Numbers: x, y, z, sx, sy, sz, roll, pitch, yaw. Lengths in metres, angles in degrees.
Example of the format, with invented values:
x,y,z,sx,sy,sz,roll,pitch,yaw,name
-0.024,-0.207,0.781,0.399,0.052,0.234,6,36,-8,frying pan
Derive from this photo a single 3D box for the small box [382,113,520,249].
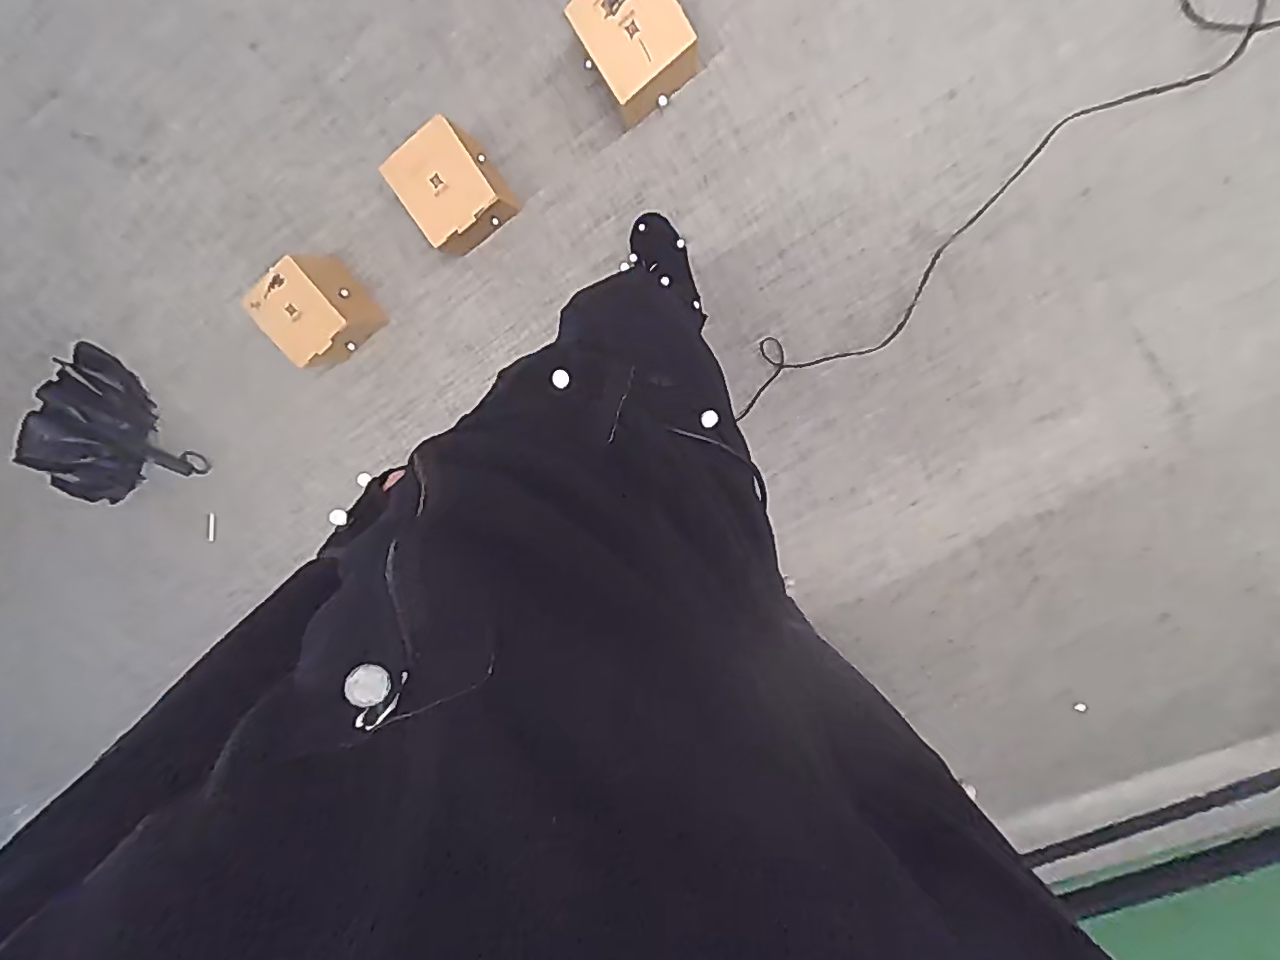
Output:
x,y,z,sx,sy,sz,roll,pitch,yaw,name
-0.374,-0.597,1.110,0.168,0.176,0.179,-32,103,14,small box

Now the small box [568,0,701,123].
x,y,z,sx,sy,sz,roll,pitch,yaw,name
-0.004,-0.805,0.992,0.168,0.176,0.179,-32,104,17,small box

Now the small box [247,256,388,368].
x,y,z,sx,sy,sz,roll,pitch,yaw,name
-0.713,-0.382,1.220,0.168,0.176,0.179,-35,104,16,small box
